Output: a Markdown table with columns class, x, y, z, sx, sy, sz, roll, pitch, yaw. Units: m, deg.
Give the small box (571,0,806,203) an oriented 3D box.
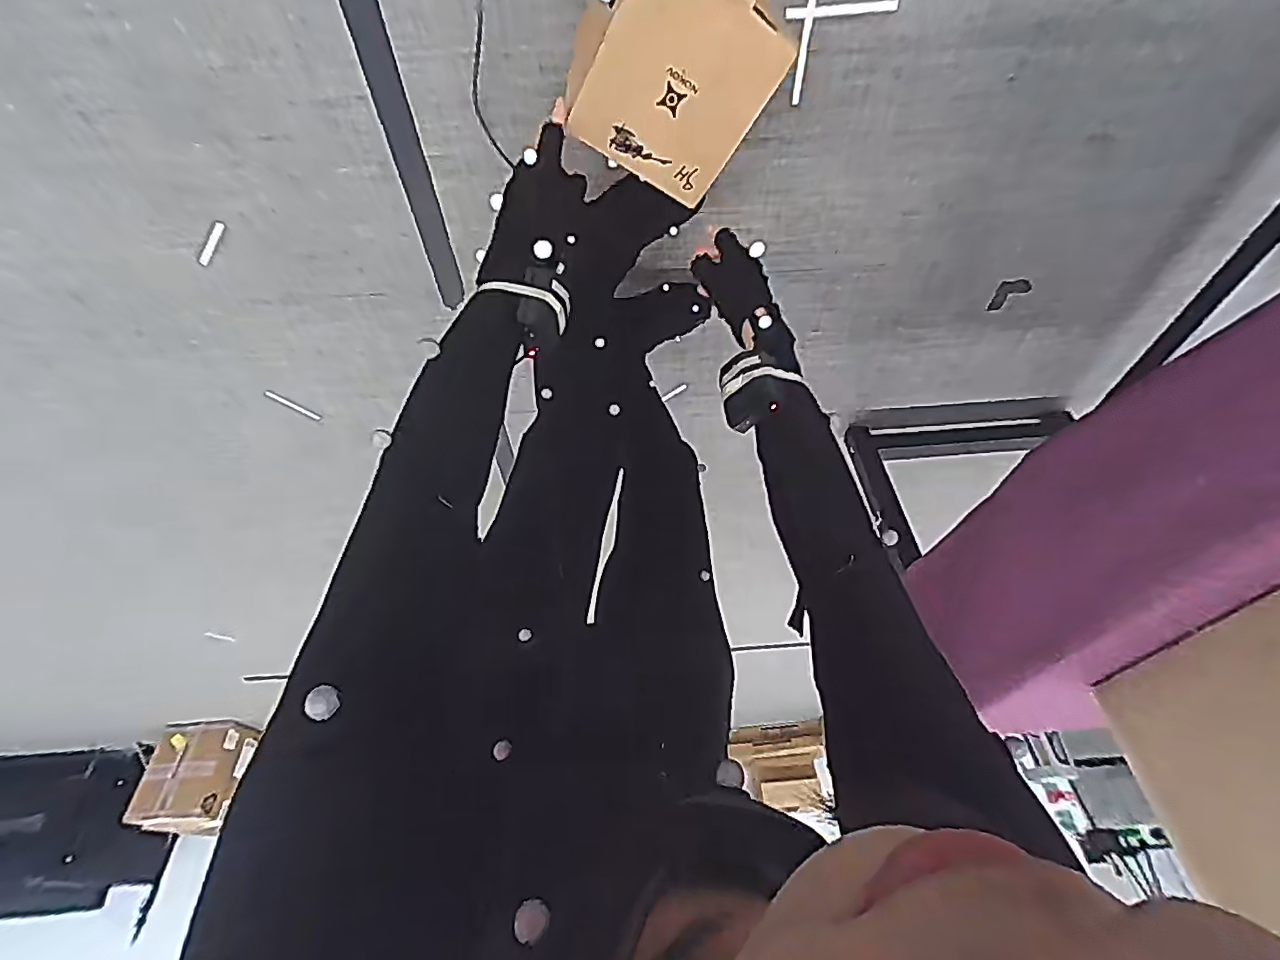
| class | x | y | z | sx | sy | sz | roll | pitch | yaw |
| --- | --- | --- | --- | --- | --- | --- | --- | --- | --- |
| small box | 0.036 | -0.443 | 0.565 | 0.168 | 0.176 | 0.179 | 18 | 136 | -26 |
